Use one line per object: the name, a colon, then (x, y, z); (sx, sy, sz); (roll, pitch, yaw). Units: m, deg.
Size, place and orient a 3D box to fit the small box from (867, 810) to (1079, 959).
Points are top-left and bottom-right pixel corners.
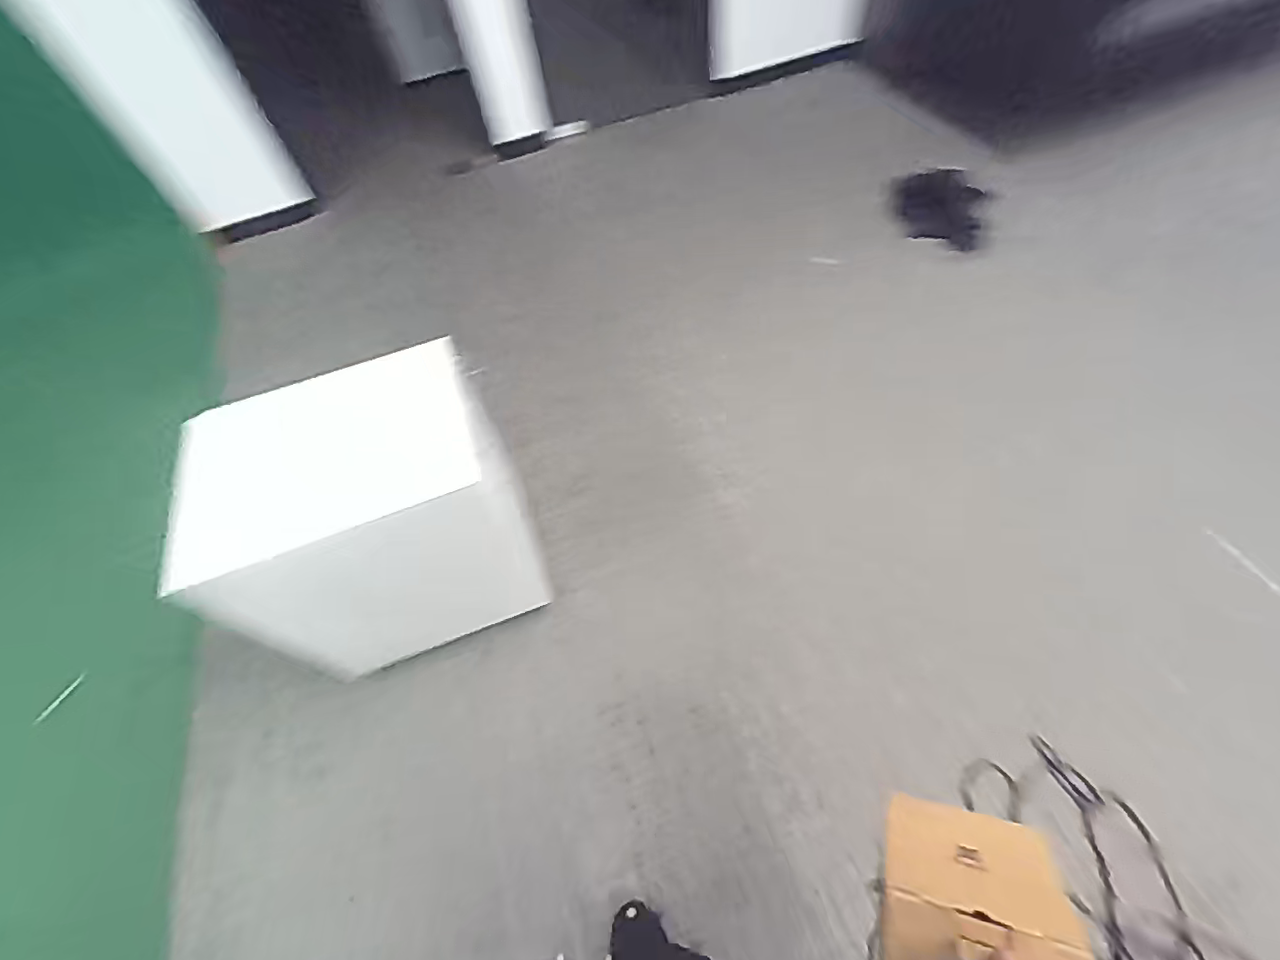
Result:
small box: (0.335, 0.501, 0.572); (0.168, 0.179, 0.176); (3, 92, 23)
